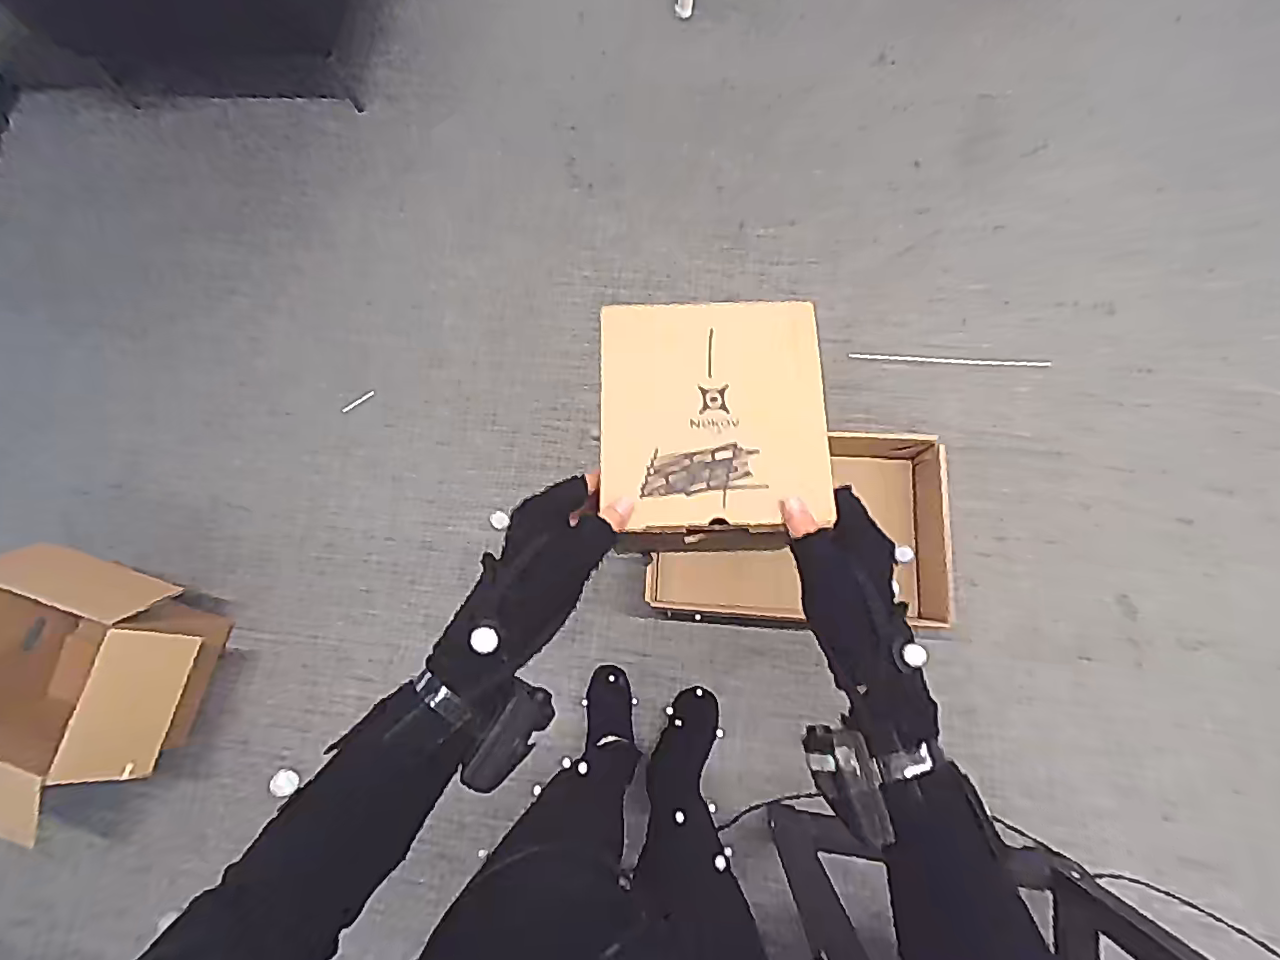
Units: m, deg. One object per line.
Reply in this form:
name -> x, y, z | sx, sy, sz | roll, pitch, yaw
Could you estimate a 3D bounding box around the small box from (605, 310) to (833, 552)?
small box -> 0.059, -0.030, 0.483 | 0.168, 0.176, 0.179 | -1, 75, 0
